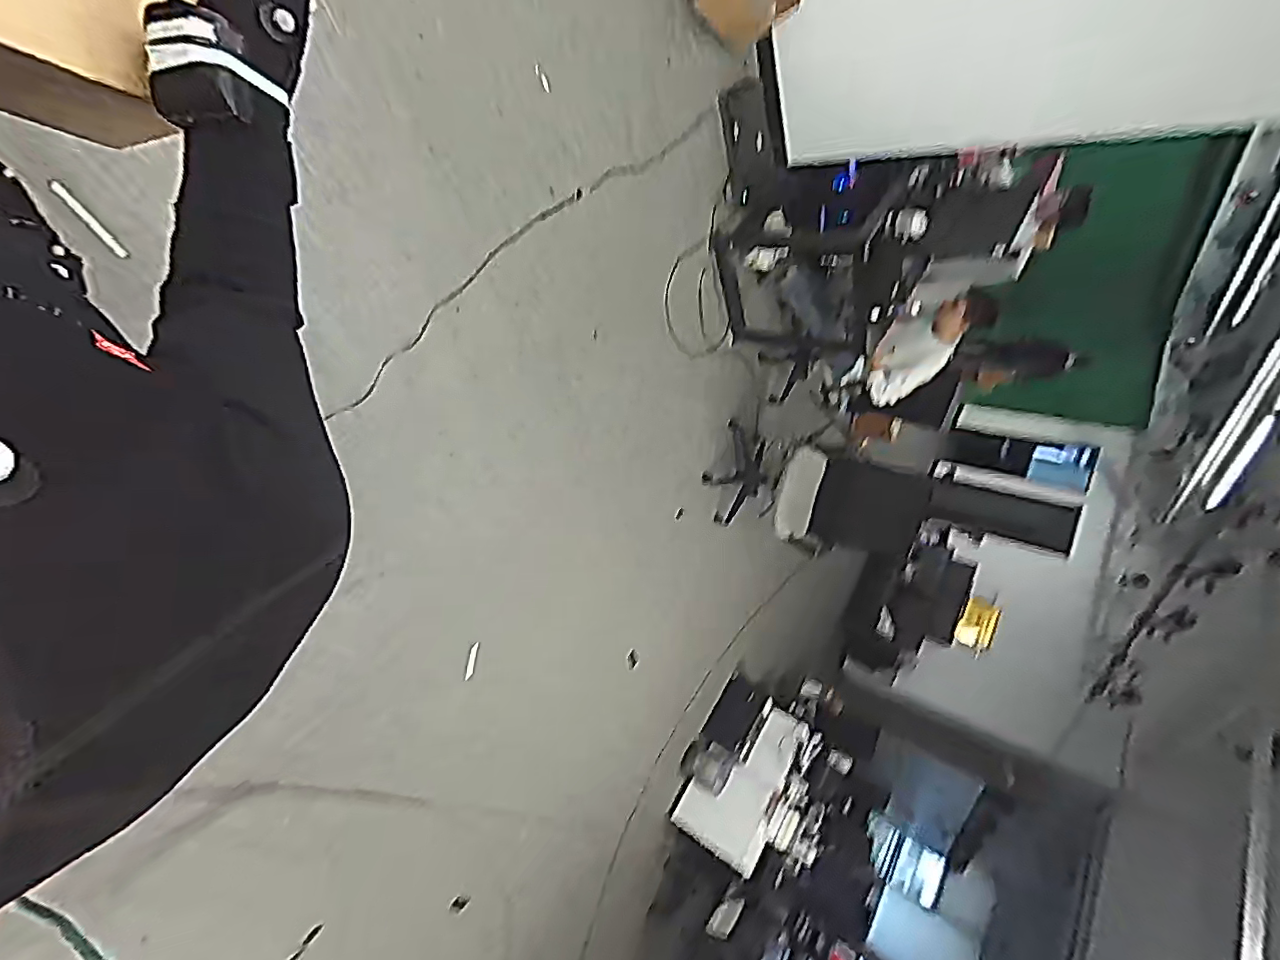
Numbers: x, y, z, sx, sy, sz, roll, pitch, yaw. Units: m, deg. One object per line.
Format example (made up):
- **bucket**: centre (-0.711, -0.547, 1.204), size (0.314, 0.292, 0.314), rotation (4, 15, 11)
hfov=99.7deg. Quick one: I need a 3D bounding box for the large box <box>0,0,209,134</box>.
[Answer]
- **large box**: centre (-0.543, -0.462, 0.310), size (0.408, 0.320, 0.320), rotation (-5, 111, -54)
